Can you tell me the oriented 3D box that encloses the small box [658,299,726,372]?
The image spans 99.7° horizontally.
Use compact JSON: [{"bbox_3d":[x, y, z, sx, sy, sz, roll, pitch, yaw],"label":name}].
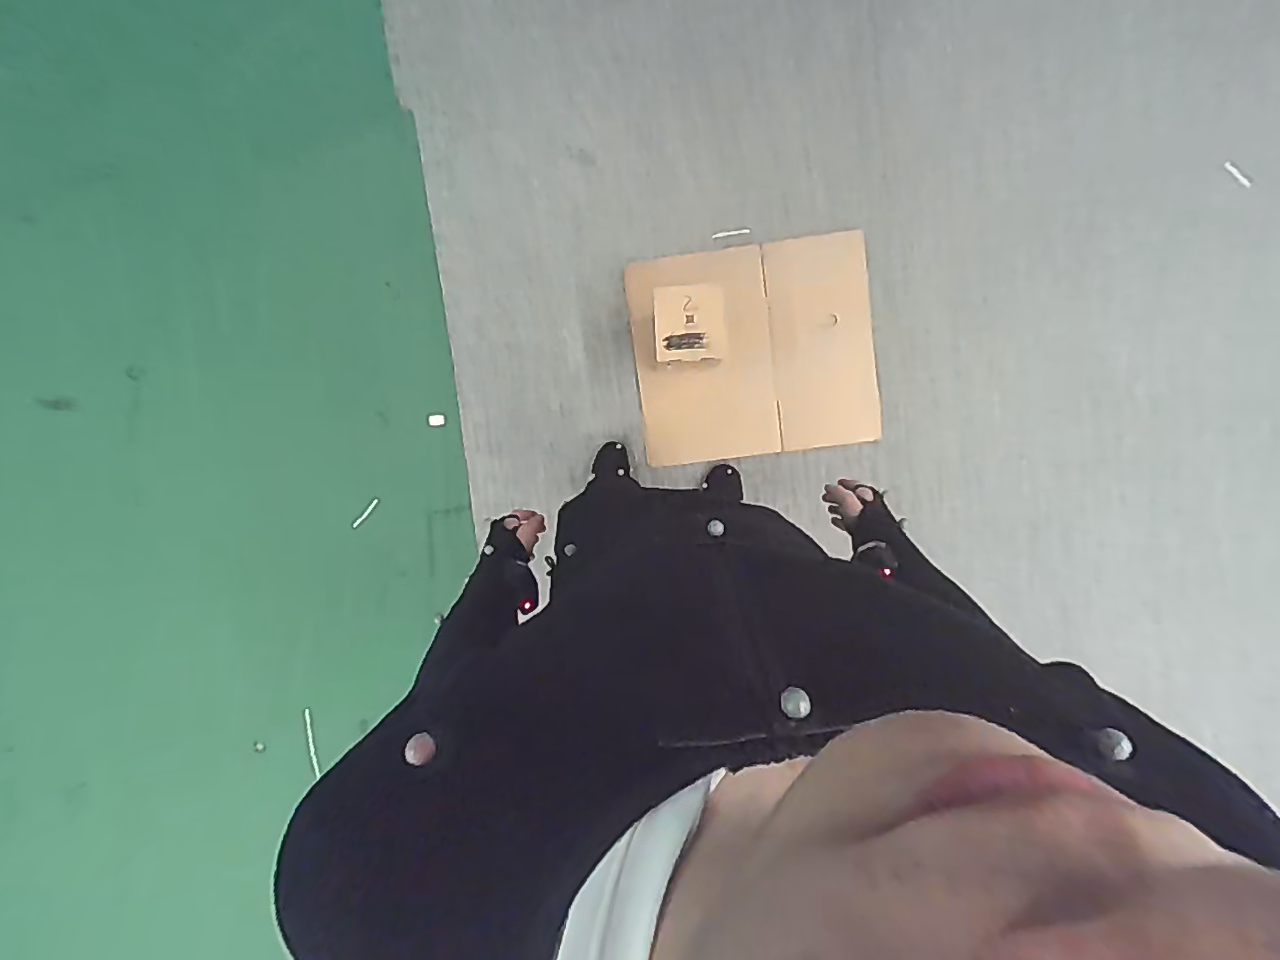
[{"bbox_3d":[0.142,-0.397,1.510,0.179,0.176,0.168,-3,95,3],"label":"small box"}]
